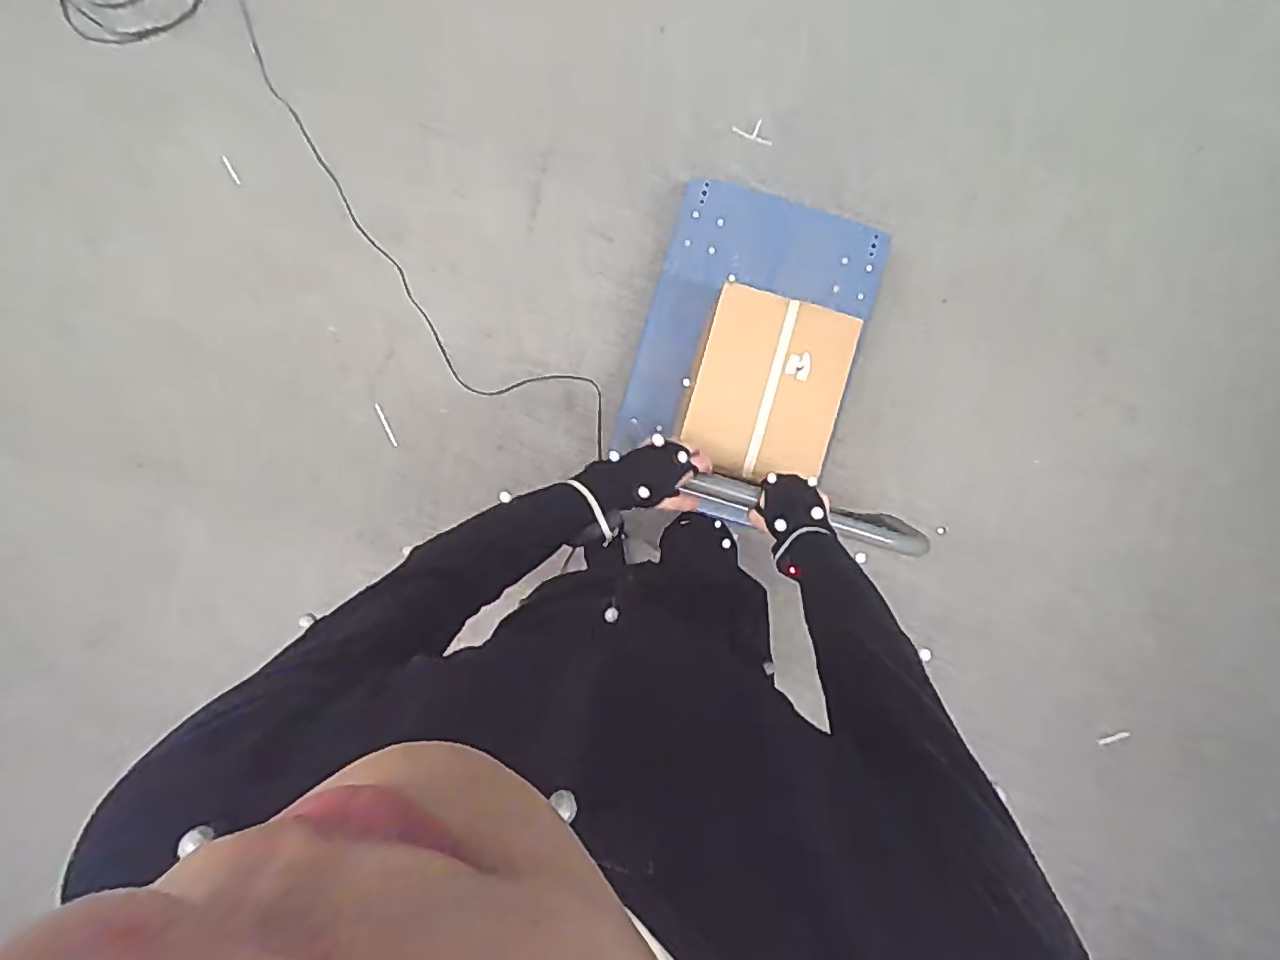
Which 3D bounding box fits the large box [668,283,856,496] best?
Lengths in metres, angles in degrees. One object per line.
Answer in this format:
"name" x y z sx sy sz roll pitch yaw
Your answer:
"large box" 0.269 -0.192 1.311 0.320 0.320 0.408 16 89 -2
